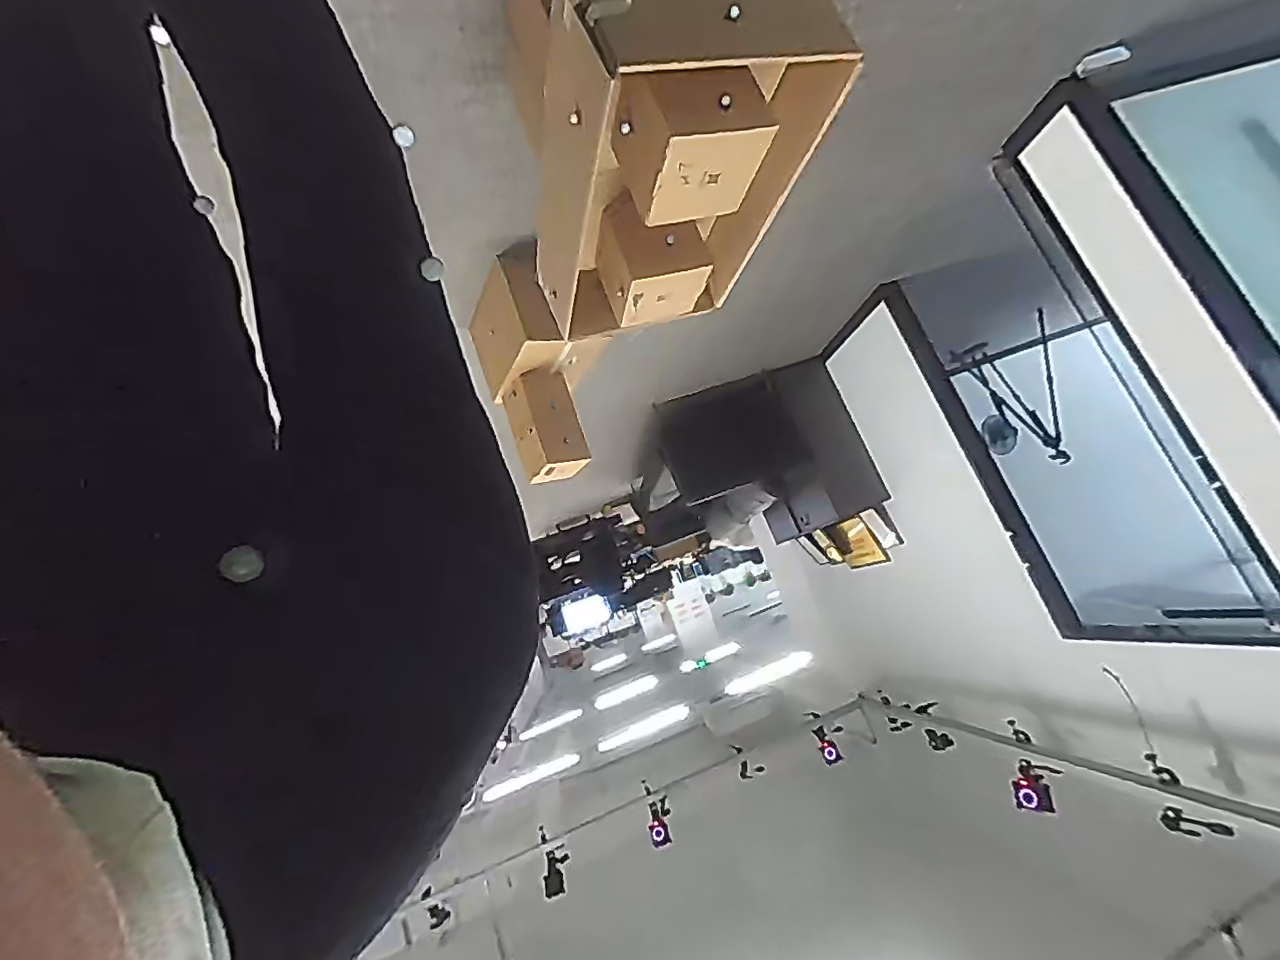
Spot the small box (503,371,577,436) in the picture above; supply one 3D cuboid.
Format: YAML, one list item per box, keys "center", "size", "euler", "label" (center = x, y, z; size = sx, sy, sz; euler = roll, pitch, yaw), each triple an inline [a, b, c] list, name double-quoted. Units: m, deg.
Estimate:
- center: [-0.352, -0.269, 1.883]
  size: [0.179, 0.176, 0.168]
  euler: [-9, 163, -39]
  label: "small box"

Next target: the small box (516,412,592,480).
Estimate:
- center: [-0.299, -0.119, 1.842]
  size: [0.179, 0.176, 0.168]
  euler: [-11, 164, -40]
  label: "small box"

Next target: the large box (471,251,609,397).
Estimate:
- center: [-0.364, -0.532, 1.882]
  size: [0.320, 0.320, 0.408]
  euler: [-14, 166, -34]
  label: "large box"
